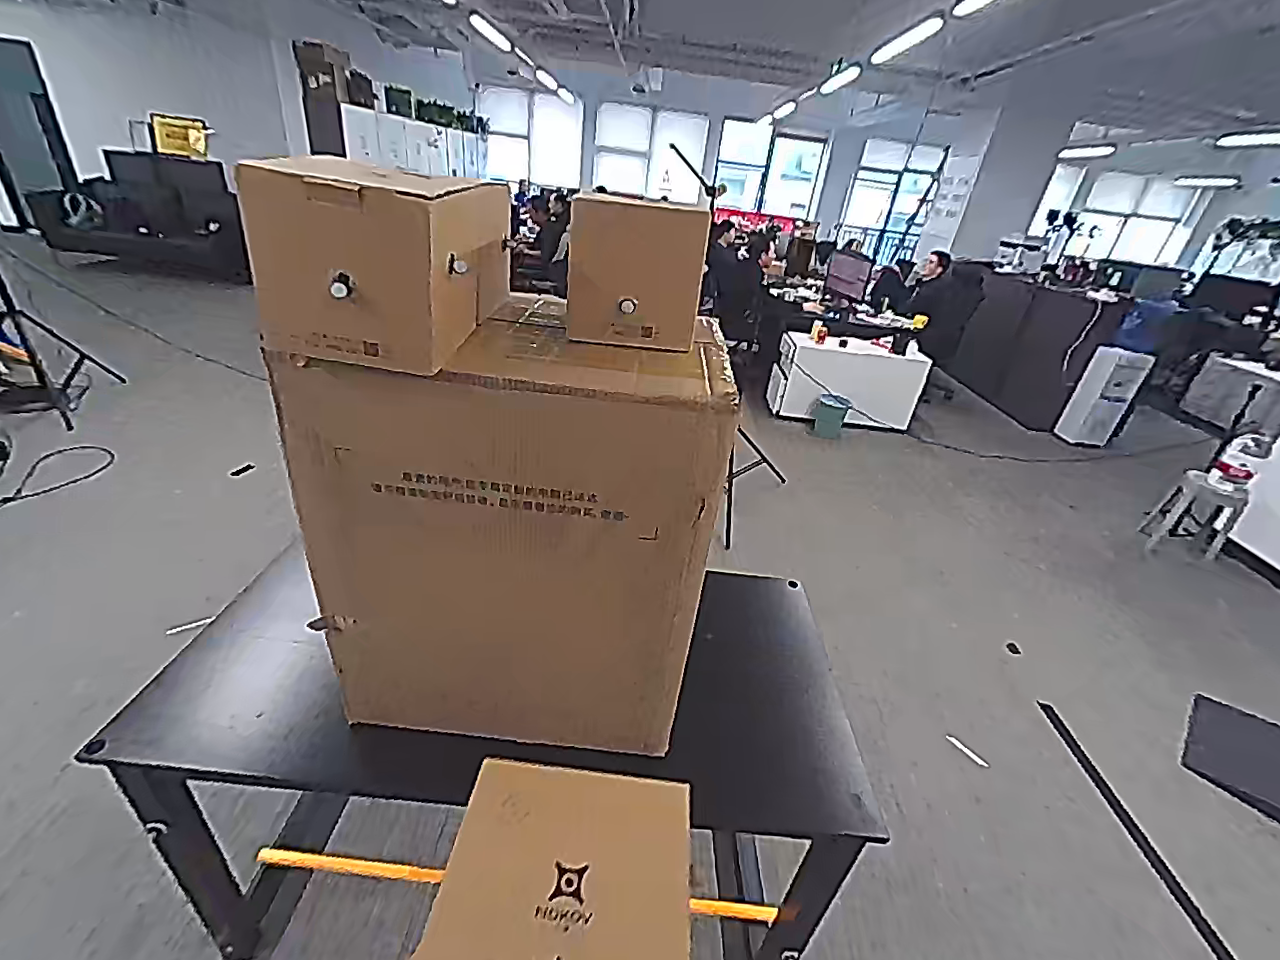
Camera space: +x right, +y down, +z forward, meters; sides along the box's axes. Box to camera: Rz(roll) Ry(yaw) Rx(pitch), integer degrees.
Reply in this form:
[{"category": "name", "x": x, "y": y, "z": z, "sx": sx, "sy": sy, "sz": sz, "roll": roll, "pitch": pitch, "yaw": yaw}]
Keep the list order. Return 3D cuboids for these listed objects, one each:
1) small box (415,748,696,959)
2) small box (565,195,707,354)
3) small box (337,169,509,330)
[{"category": "small box", "x": -0.053, "y": 0.335, "z": 0.394, "sx": 0.168, "sy": 0.176, "sz": 0.179, "roll": 6, "pitch": 29, "yaw": 2}, {"category": "small box", "x": -0.011, "y": -0.281, "z": 0.732, "sx": 0.168, "sy": 0.176, "sz": 0.179, "roll": 4, "pitch": 29, "yaw": -3}, {"category": "small box", "x": -0.282, "y": -0.317, "z": 0.743, "sx": 0.168, "sy": 0.176, "sz": 0.179, "roll": 6, "pitch": 29, "yaw": -2}]
